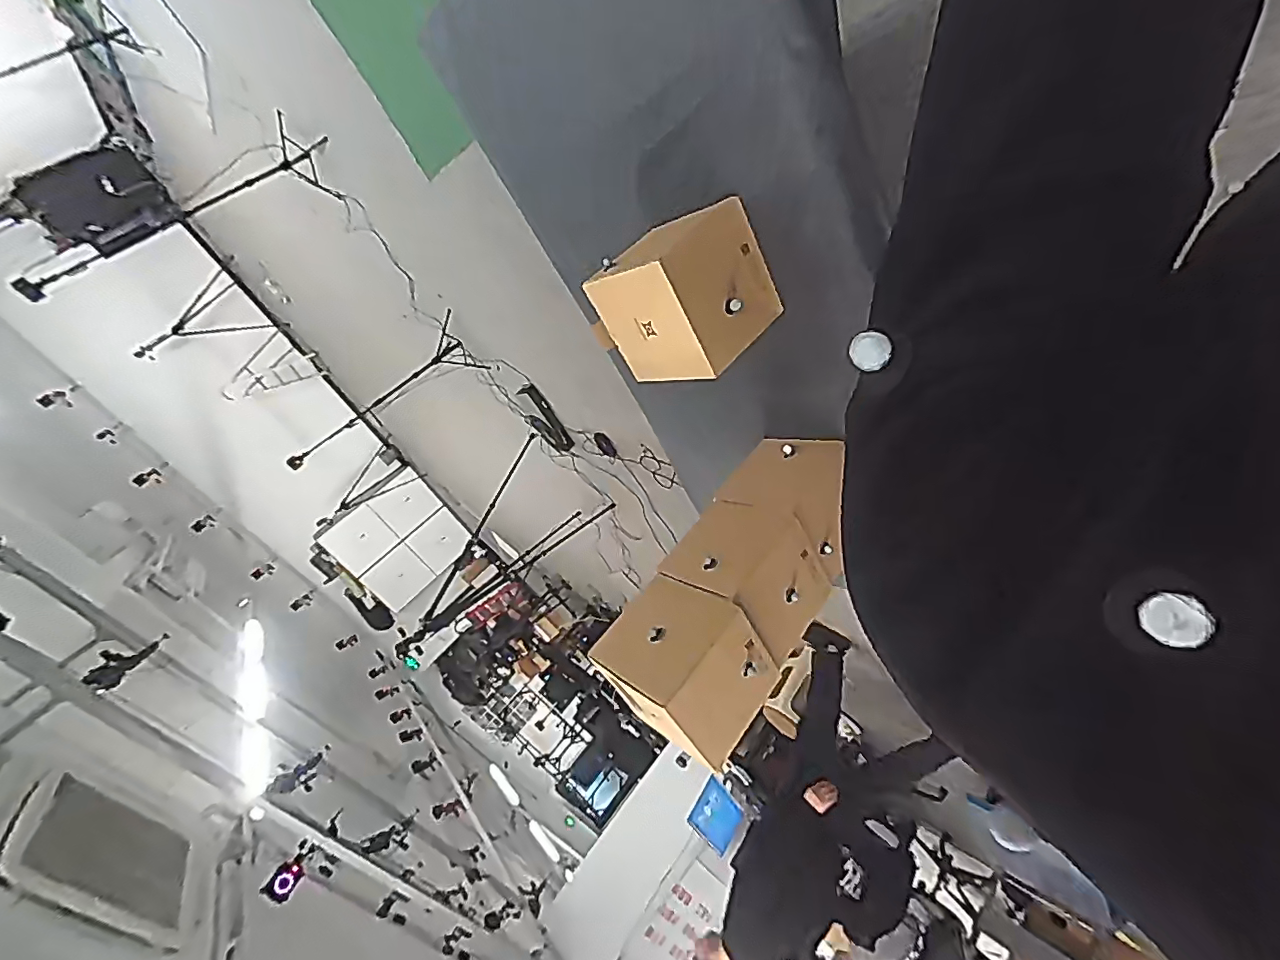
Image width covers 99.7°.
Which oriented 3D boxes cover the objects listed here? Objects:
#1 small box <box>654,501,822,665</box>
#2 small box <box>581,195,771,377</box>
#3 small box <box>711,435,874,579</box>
[{"bbox_3d":[0.163,0.151,0.854,0.179,0.176,0.168,9,138,53],"label":"small box"},{"bbox_3d":[0.058,-0.261,0.750,0.179,0.176,0.168,11,141,53],"label":"small box"},{"bbox_3d":[0.261,0.036,0.921,0.179,0.176,0.168,8,139,54],"label":"small box"}]
